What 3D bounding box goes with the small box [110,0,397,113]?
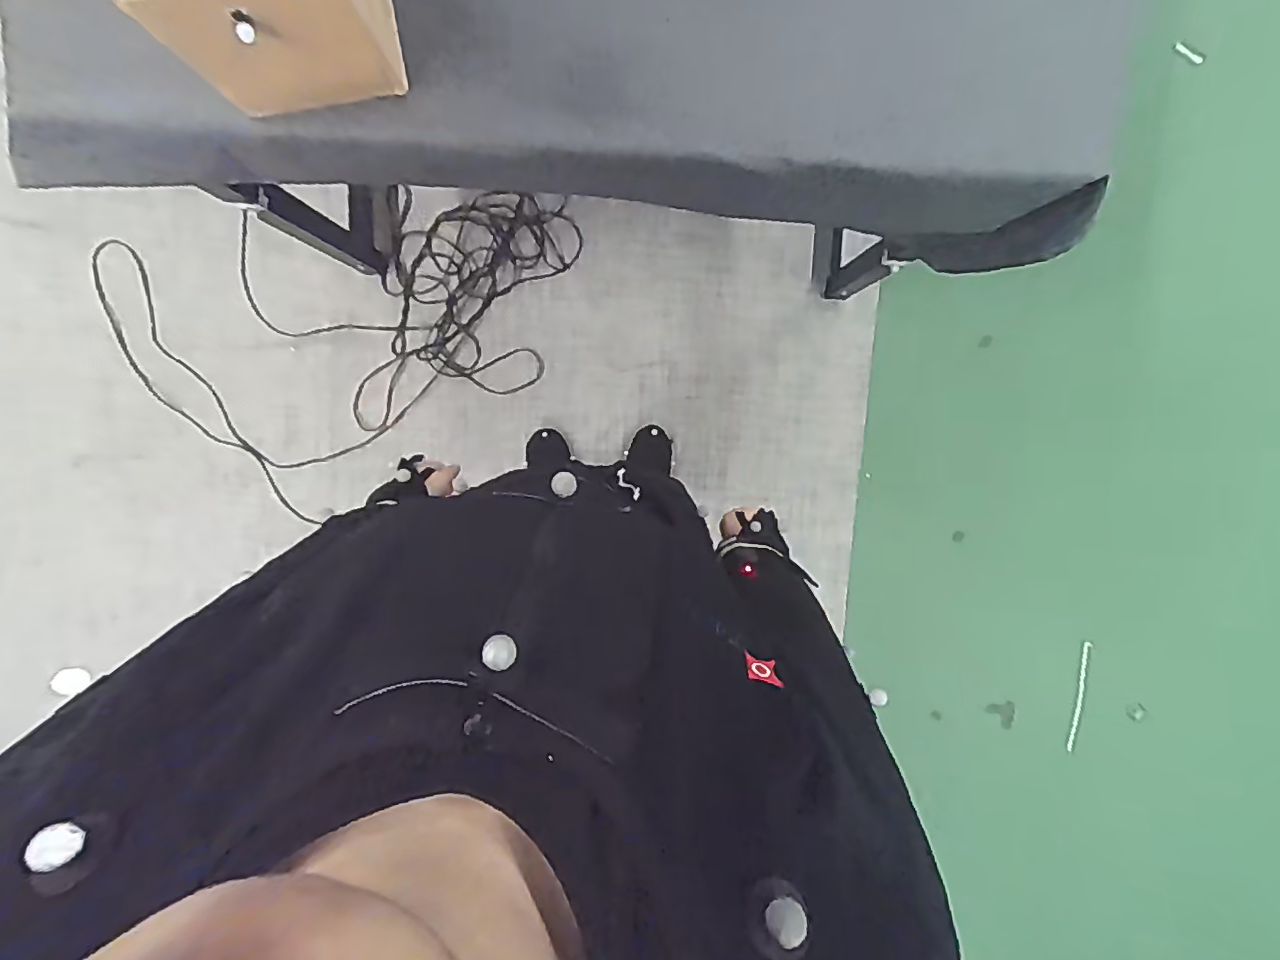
[{"bbox_3d":[-0.343,-0.474,0.492,0.179,0.176,0.168,-9,96,0],"label":"small box"}]
